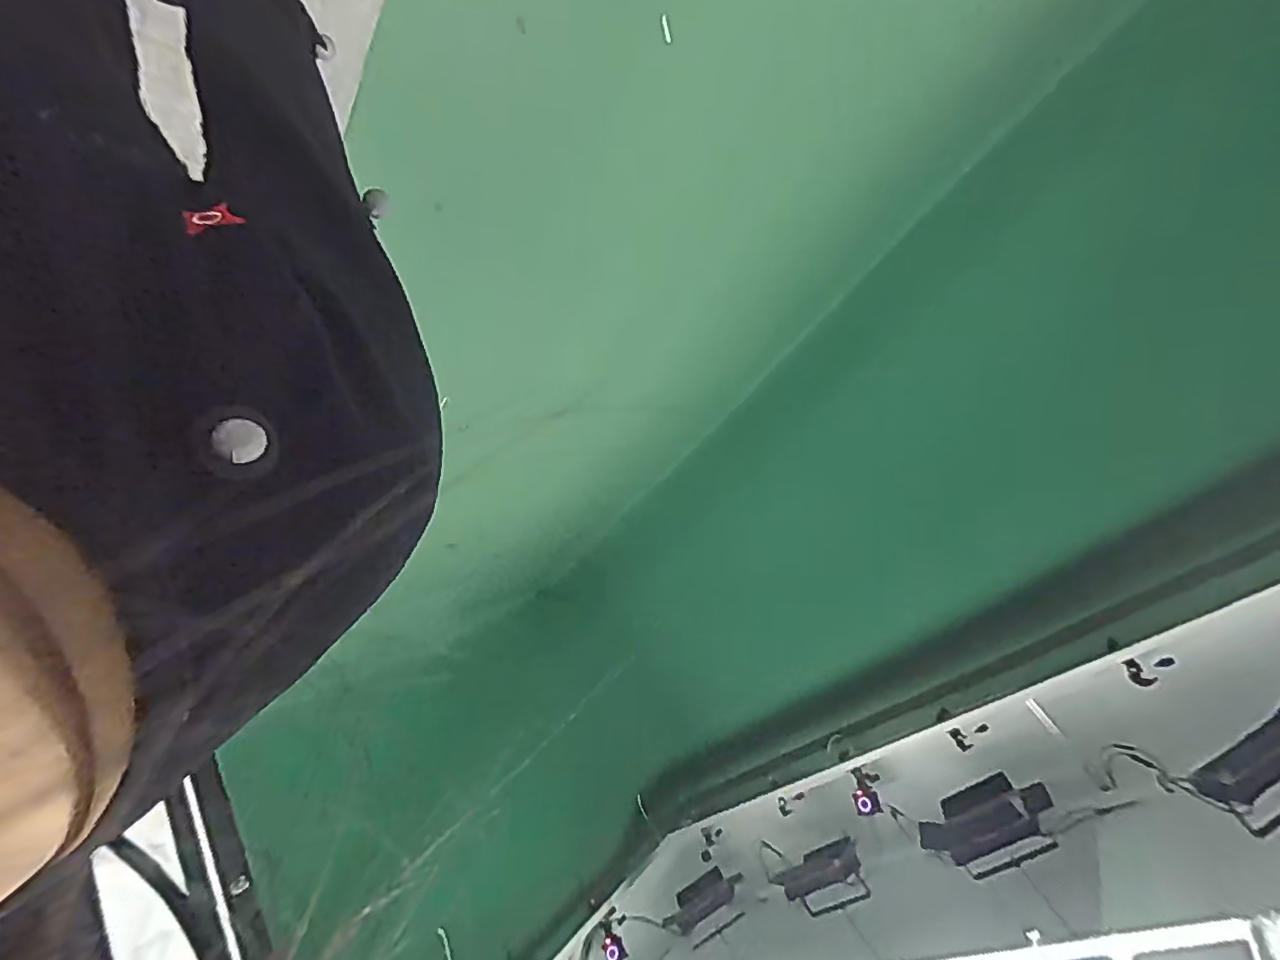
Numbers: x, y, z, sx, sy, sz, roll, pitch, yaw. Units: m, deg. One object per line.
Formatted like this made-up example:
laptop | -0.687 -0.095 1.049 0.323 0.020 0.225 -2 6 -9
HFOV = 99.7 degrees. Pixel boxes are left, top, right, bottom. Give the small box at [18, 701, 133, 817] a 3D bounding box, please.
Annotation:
small box | -1.346 0.657 1.291 0.168 0.176 0.179 -11 153 -50
